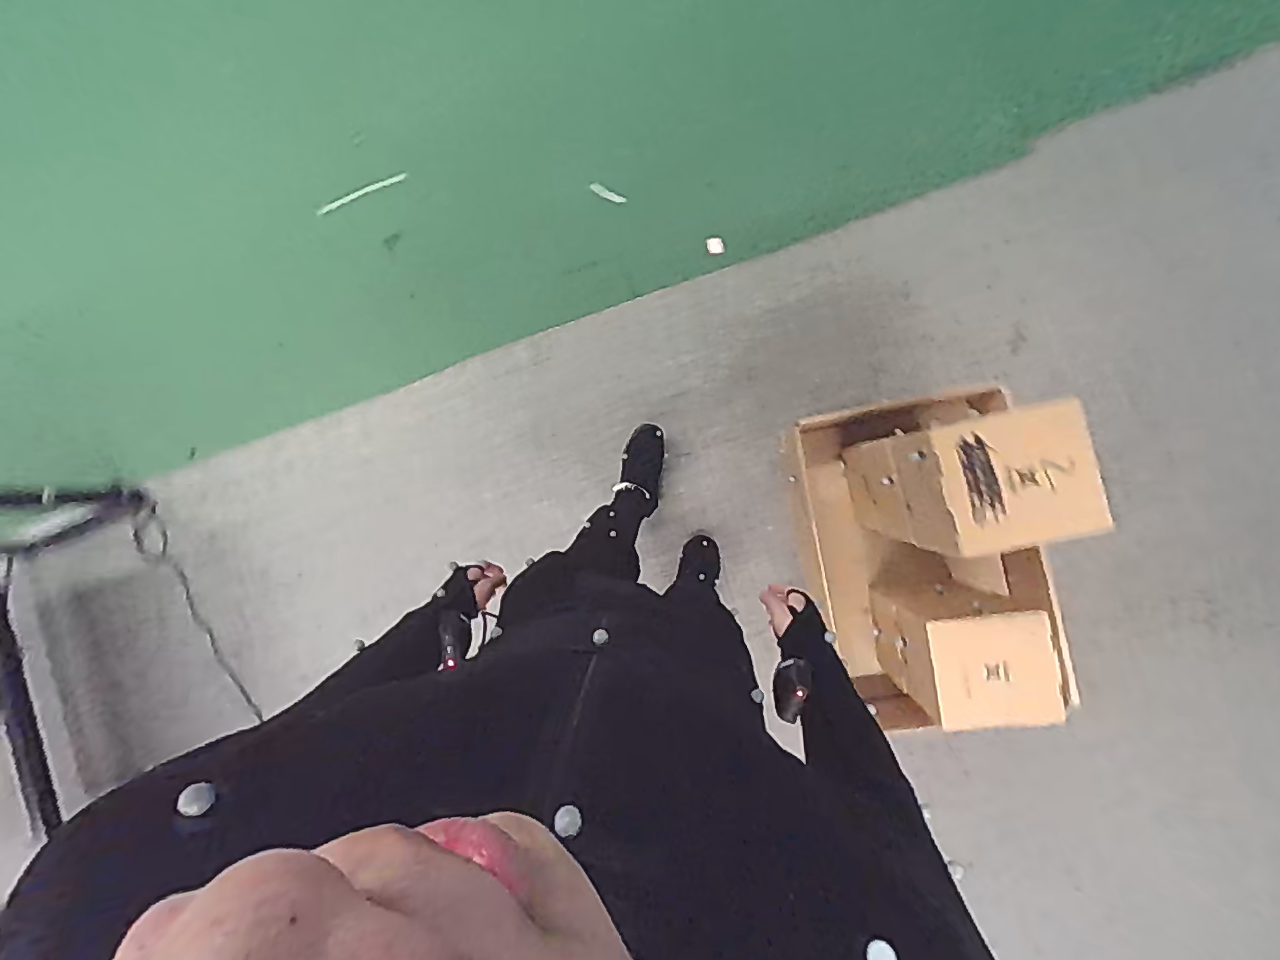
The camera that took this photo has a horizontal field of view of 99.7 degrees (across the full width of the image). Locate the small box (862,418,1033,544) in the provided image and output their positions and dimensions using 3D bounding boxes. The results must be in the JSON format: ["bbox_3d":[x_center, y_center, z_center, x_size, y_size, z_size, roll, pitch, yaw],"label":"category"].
[{"bbox_3d":[0.495,0.003,0.896,0.179,0.176,0.168,-13,86,6],"label":"small box"}]

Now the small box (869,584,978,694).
[{"bbox_3d":[0.566,0.300,1.047,0.179,0.176,0.168,-6,88,8],"label":"small box"}]

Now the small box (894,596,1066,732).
[{"bbox_3d":[0.543,0.291,0.886,0.179,0.176,0.168,-7,88,7],"label":"small box"}]
